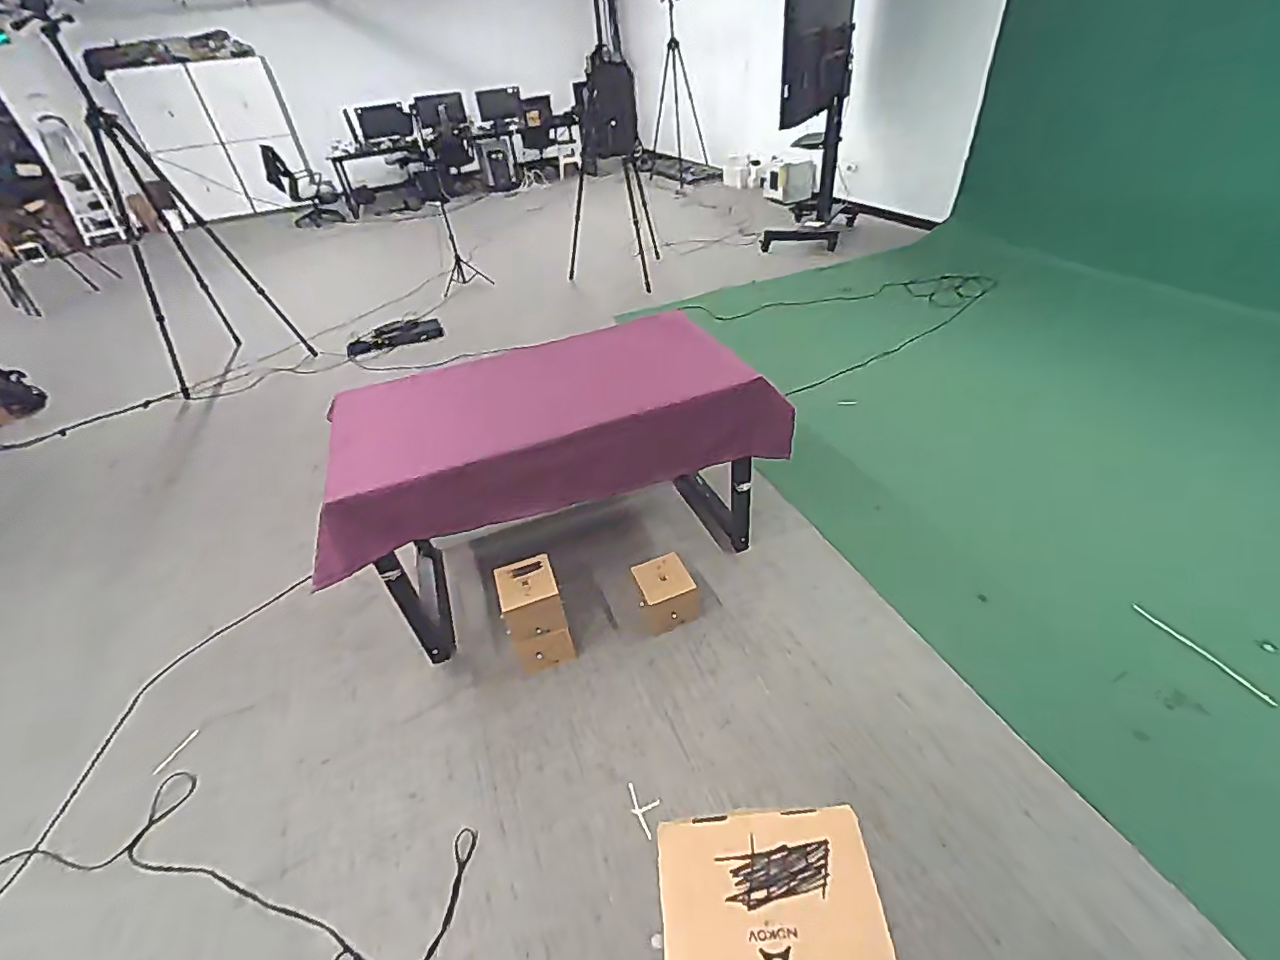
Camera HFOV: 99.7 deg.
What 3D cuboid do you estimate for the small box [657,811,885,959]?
[{"bbox_3d":[0.106,0.404,0.461,0.168,0.176,0.179,-7,49,4],"label":"small box"}]
